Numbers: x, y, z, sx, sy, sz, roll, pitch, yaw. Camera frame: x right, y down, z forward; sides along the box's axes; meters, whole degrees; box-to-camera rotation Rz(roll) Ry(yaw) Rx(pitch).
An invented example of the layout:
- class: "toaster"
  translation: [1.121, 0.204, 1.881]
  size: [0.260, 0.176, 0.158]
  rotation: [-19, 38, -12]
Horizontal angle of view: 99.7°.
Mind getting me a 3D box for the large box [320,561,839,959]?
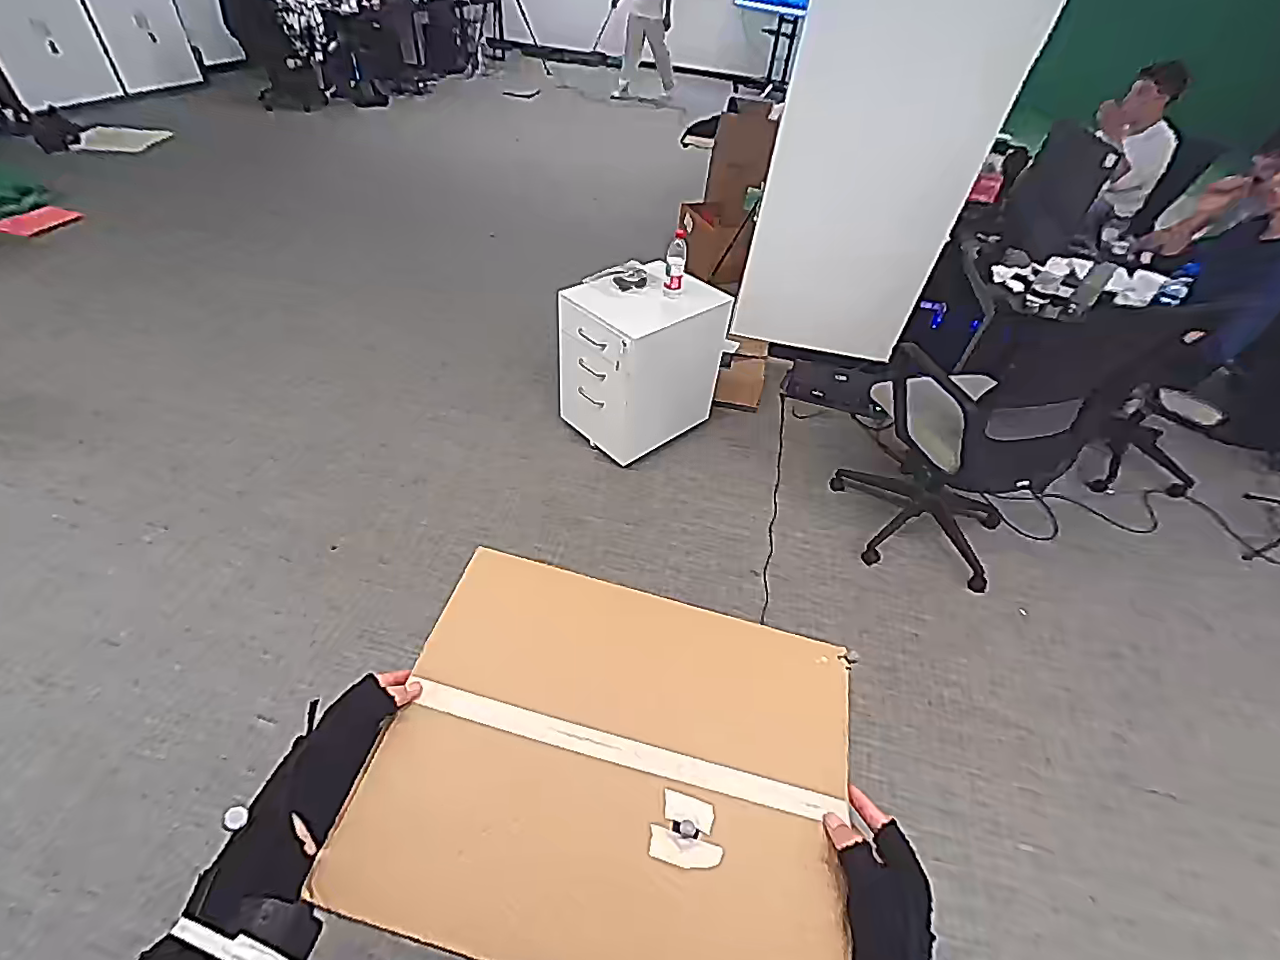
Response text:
- class: "large box"
  translation: [-0.038, 0.342, 0.600]
  size: [0.408, 0.320, 0.320]
  rotation: [16, 51, 2]
